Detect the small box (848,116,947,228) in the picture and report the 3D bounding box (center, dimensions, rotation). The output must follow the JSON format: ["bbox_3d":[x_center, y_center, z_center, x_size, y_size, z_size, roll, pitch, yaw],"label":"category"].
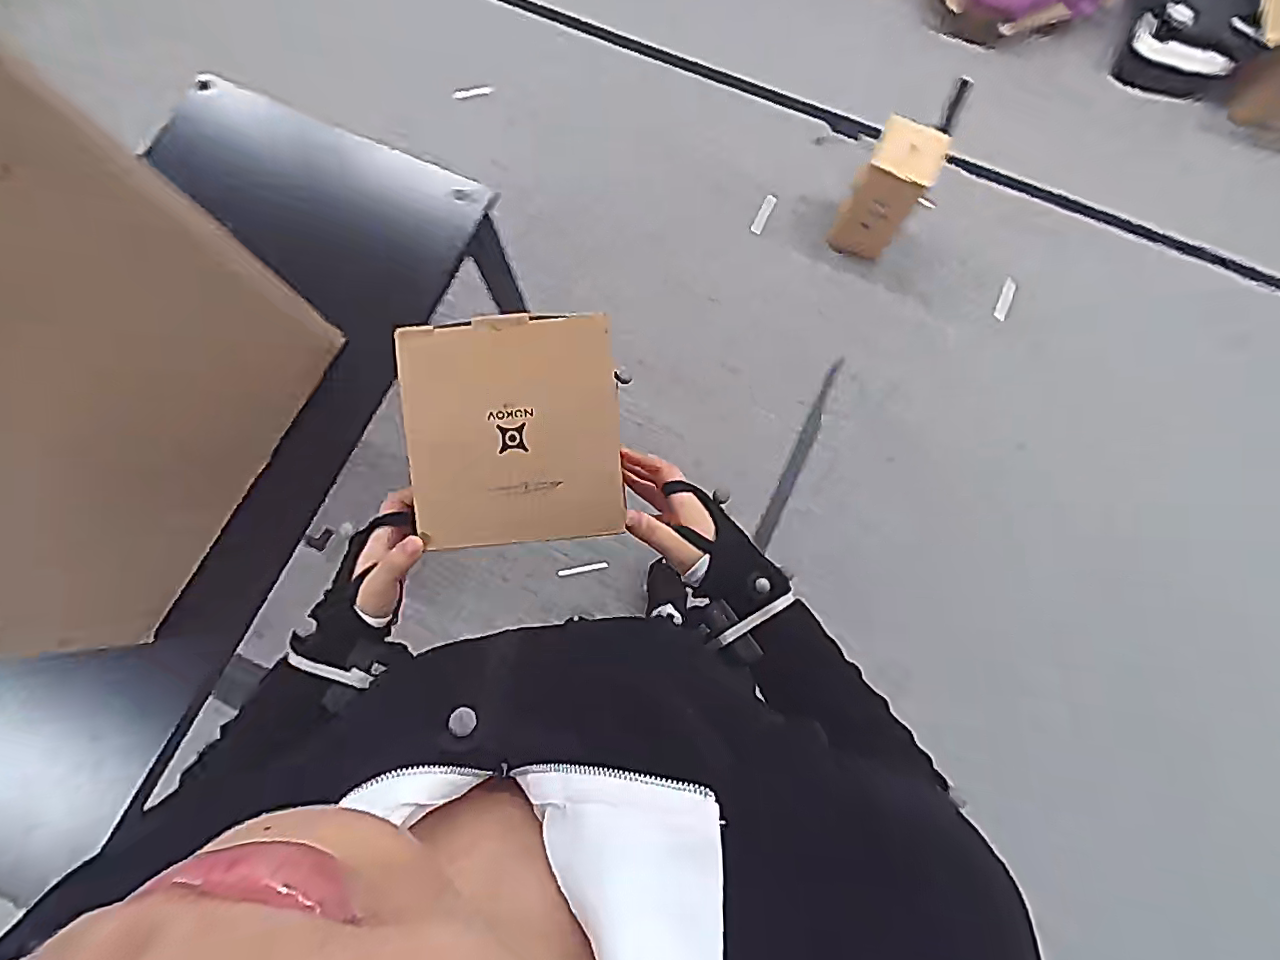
[{"bbox_3d":[0.704,-0.844,1.496,0.168,0.176,0.179,25,79,5],"label":"small box"}]

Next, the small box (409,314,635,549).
[{"bbox_3d":[-0.091,-0.042,0.492,0.168,0.176,0.179,-3,95,-1],"label":"small box"}]

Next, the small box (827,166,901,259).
[{"bbox_3d":[0.698,-0.811,1.657,0.179,0.176,0.168,21,79,4],"label":"small box"}]
